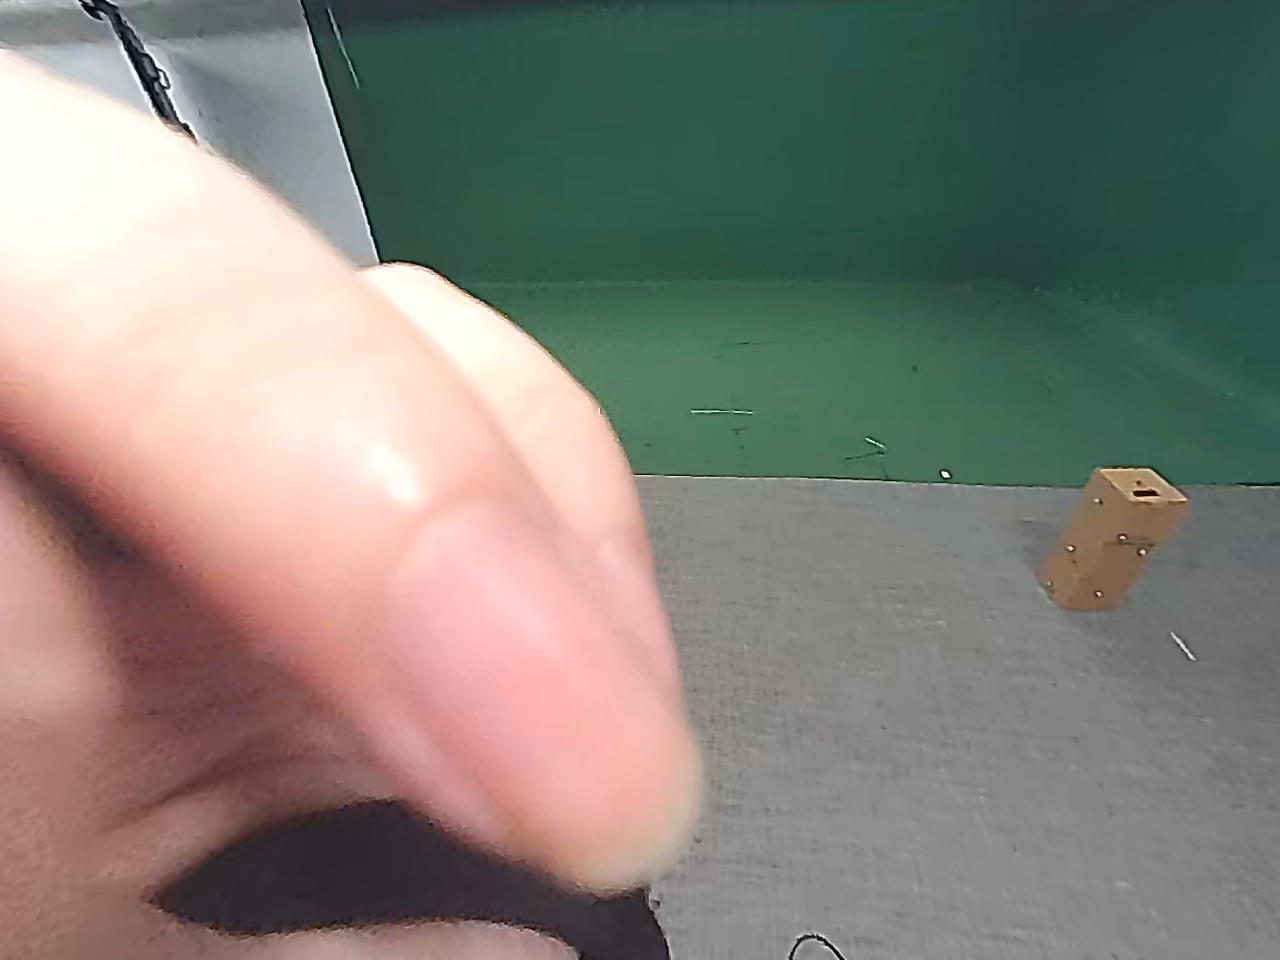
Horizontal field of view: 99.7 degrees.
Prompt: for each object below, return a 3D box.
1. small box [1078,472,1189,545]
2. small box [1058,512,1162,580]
[{"bbox_3d":[1.542,0.091,1.703,0.168,0.176,0.179,0,35,5],"label":"small box"},{"bbox_3d":[1.556,0.220,1.803,0.179,0.176,0.168,-2,35,4],"label":"small box"}]
